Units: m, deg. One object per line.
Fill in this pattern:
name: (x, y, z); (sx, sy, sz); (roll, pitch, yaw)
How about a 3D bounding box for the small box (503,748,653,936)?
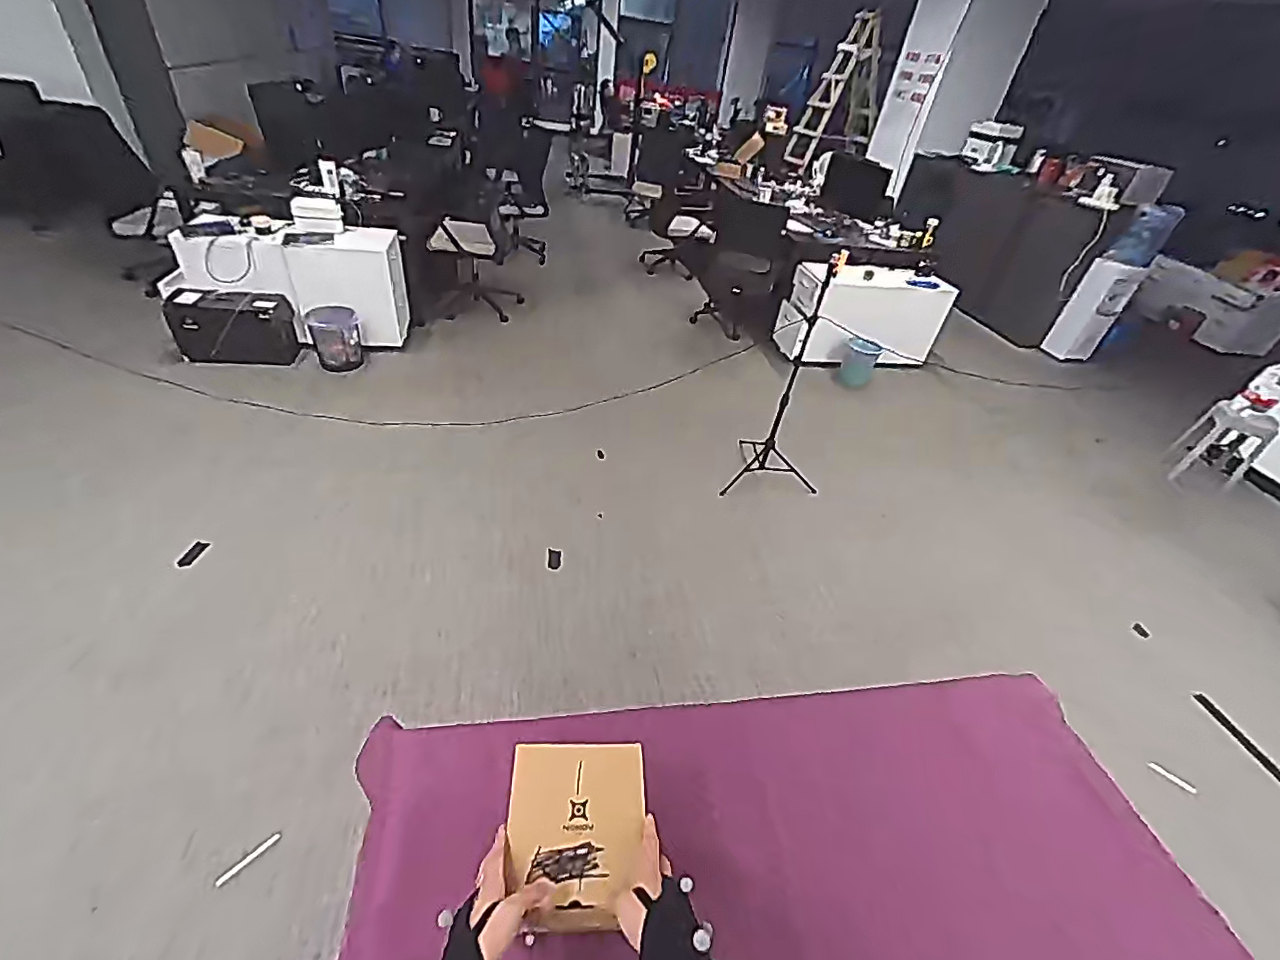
small box: (-0.078, 0.467, 0.696); (0.168, 0.176, 0.179); (4, 43, -7)
